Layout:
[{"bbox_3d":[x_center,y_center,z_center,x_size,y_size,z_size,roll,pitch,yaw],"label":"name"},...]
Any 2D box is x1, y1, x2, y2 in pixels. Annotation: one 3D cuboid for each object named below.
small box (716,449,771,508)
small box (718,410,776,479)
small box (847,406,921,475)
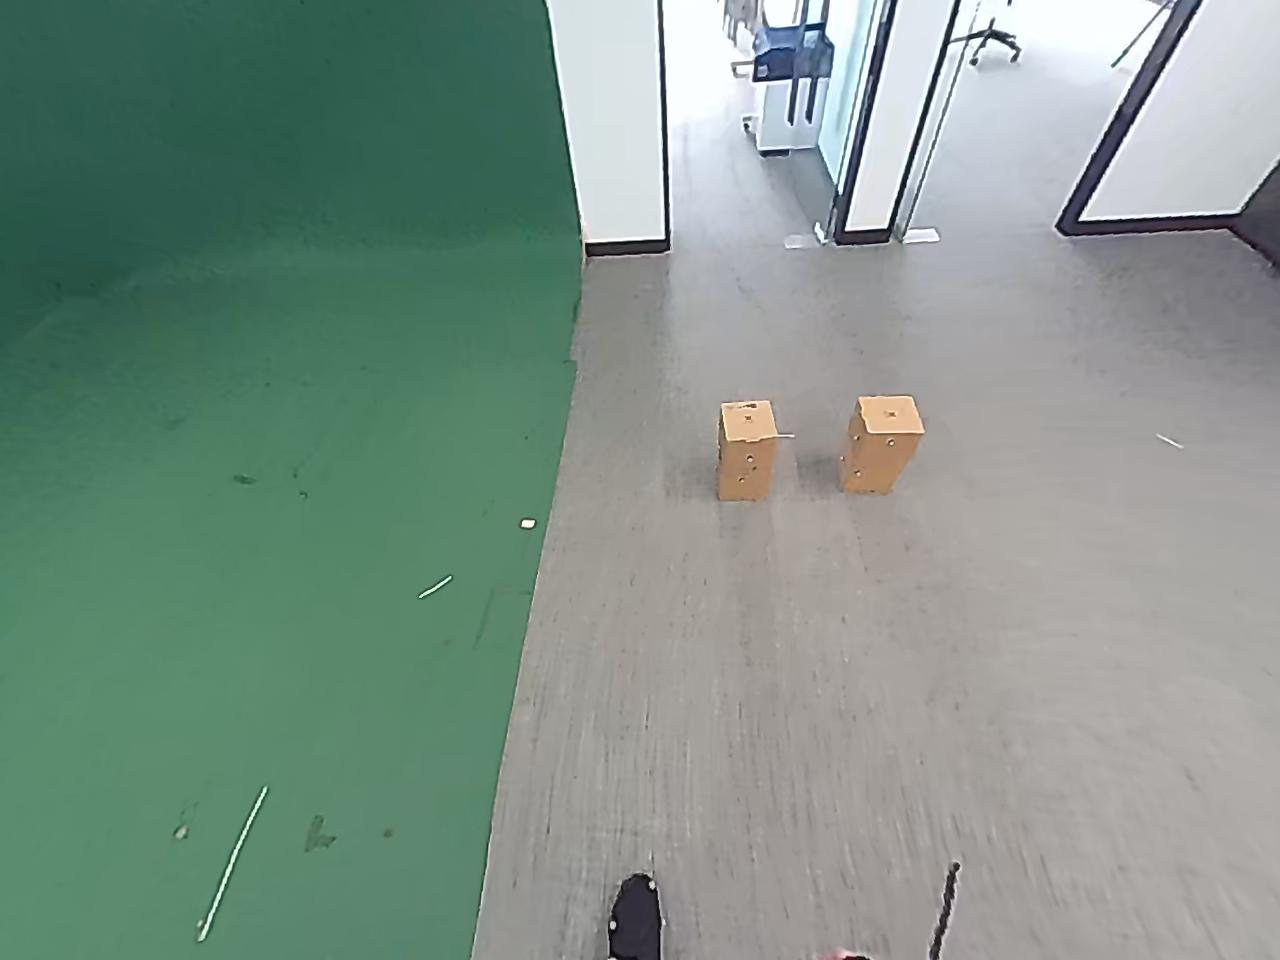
[{"bbox_3d":[0.369,-0.009,1.957,0.179,0.176,0.168,0,51,3],"label":"small box"},{"bbox_3d":[0.356,-0.114,1.832,0.168,0.176,0.179,-3,51,2],"label":"small box"},{"bbox_3d":[0.805,-0.130,1.809,0.179,0.176,0.168,1,51,4],"label":"small box"}]
